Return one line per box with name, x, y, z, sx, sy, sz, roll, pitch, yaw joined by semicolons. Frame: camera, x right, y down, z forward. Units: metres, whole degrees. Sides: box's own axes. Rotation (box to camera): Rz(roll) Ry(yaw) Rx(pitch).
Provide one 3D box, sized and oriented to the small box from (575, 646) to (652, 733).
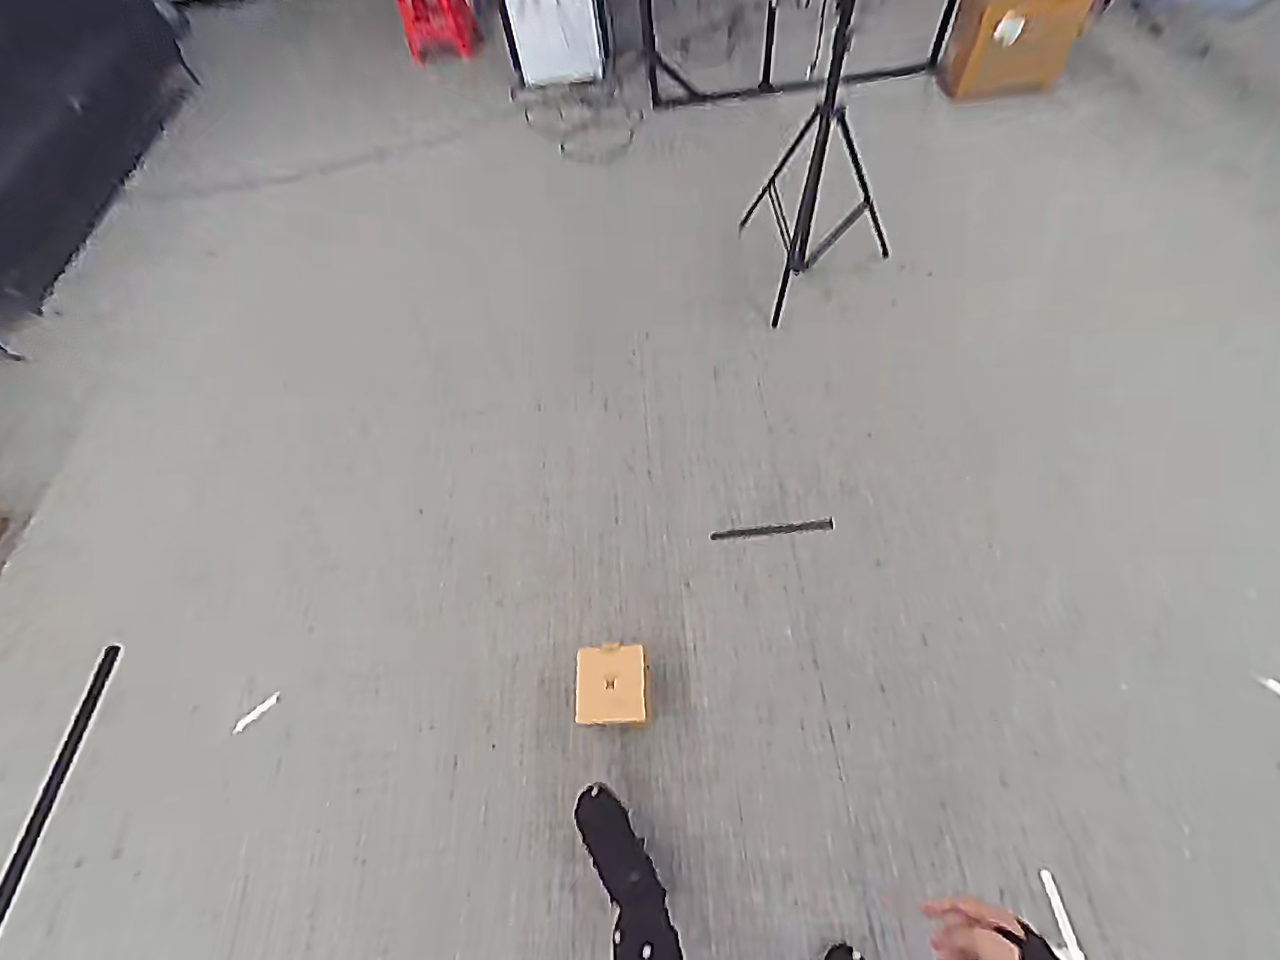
small box;-0.060;0.522;1.339;0.168;0.176;0.179;-5;60;5
